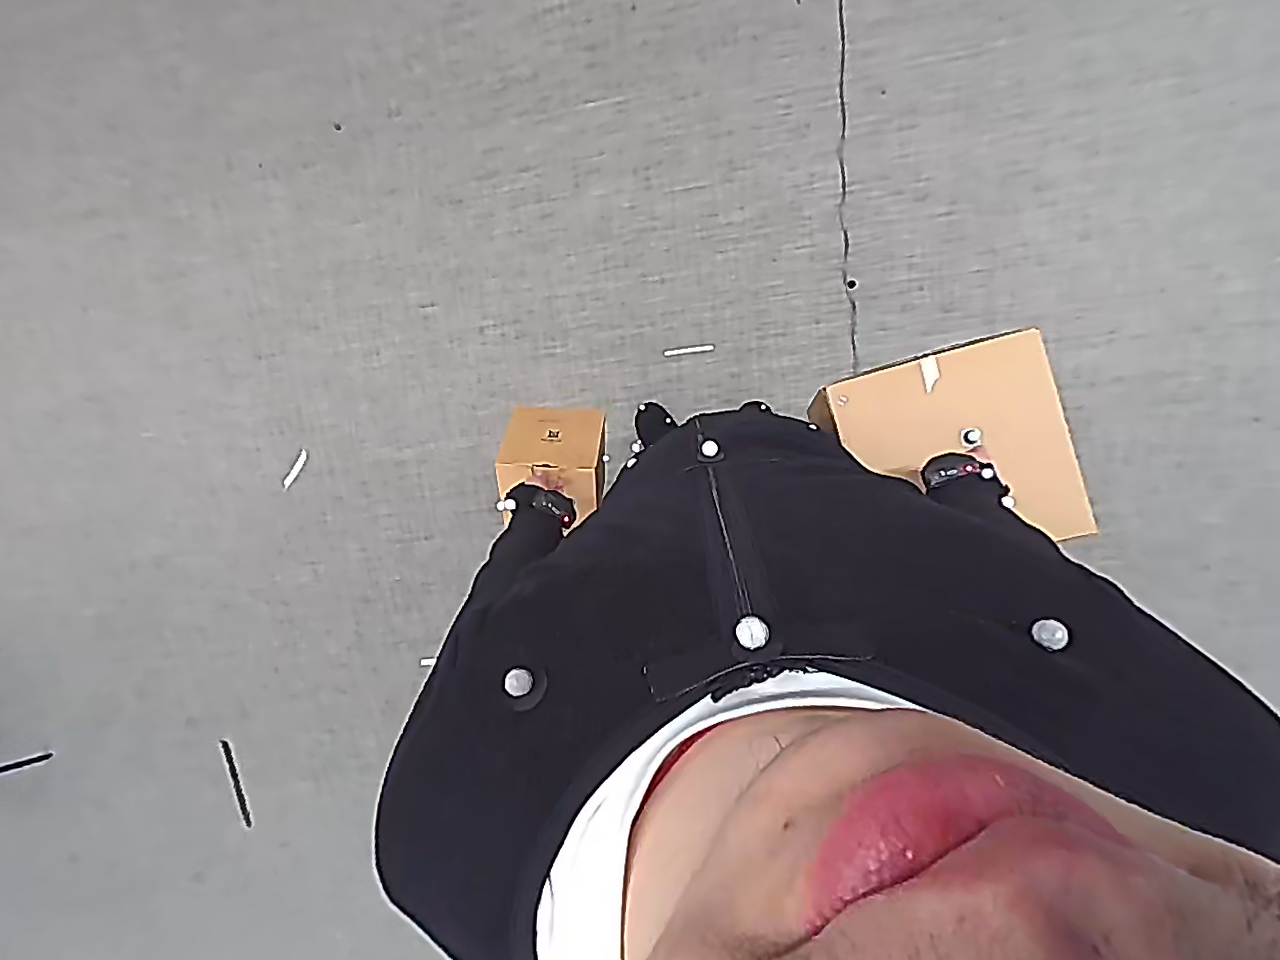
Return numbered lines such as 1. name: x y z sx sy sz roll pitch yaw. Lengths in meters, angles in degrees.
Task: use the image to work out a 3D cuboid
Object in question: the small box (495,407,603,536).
1. small box: -0.156 -0.015 0.994 0.168 0.179 0.176 4 129 0
